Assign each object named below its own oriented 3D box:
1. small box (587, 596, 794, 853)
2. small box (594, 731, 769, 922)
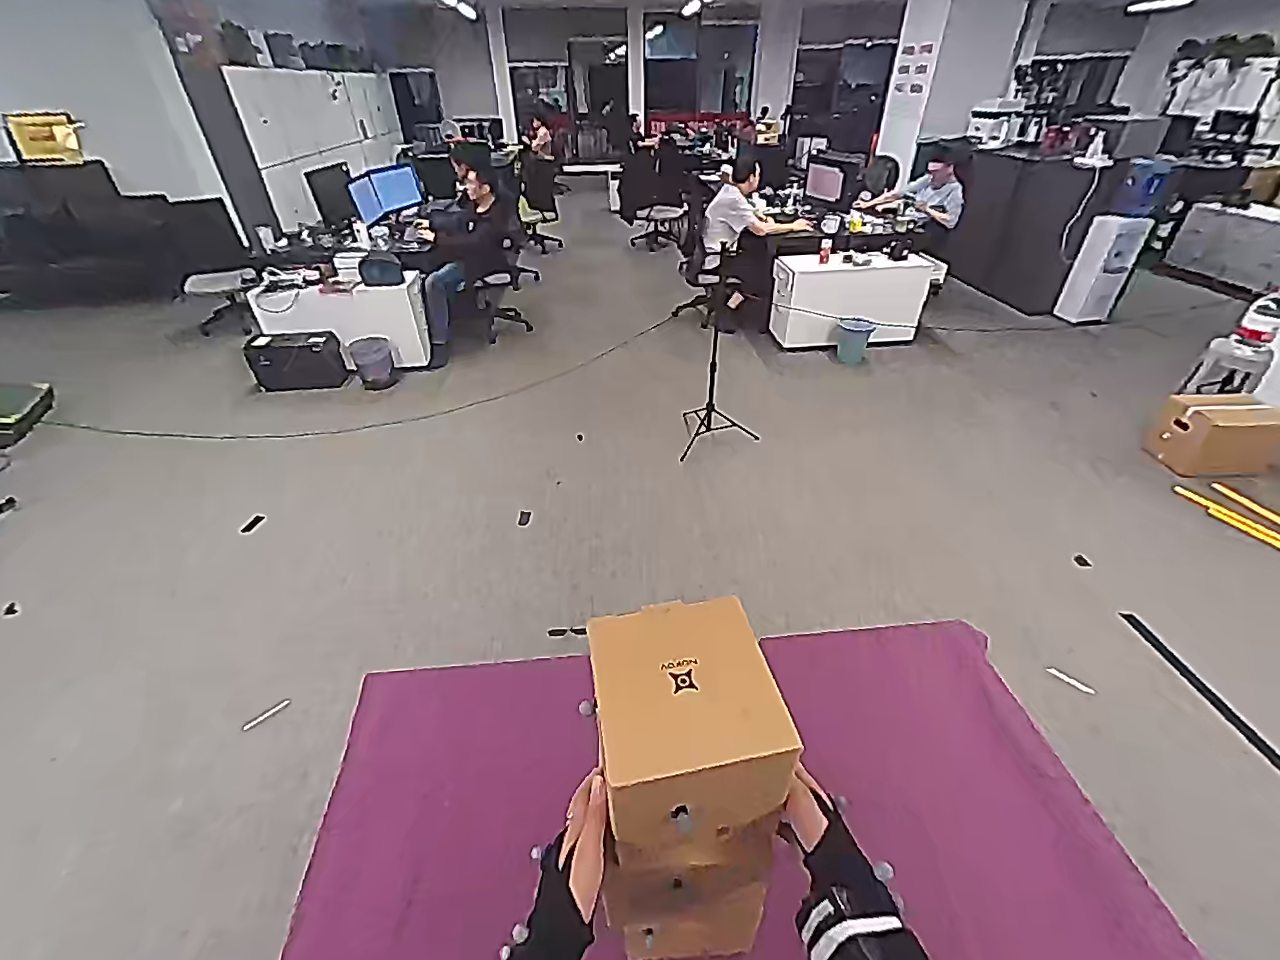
[{"bbox_3d":[0.041,0.250,0.555,0.168,0.176,0.179,-7,35,-7],"label":"small box"},{"bbox_3d":[0.041,0.392,0.637,0.179,0.176,0.168,-2,37,-2],"label":"small box"}]
